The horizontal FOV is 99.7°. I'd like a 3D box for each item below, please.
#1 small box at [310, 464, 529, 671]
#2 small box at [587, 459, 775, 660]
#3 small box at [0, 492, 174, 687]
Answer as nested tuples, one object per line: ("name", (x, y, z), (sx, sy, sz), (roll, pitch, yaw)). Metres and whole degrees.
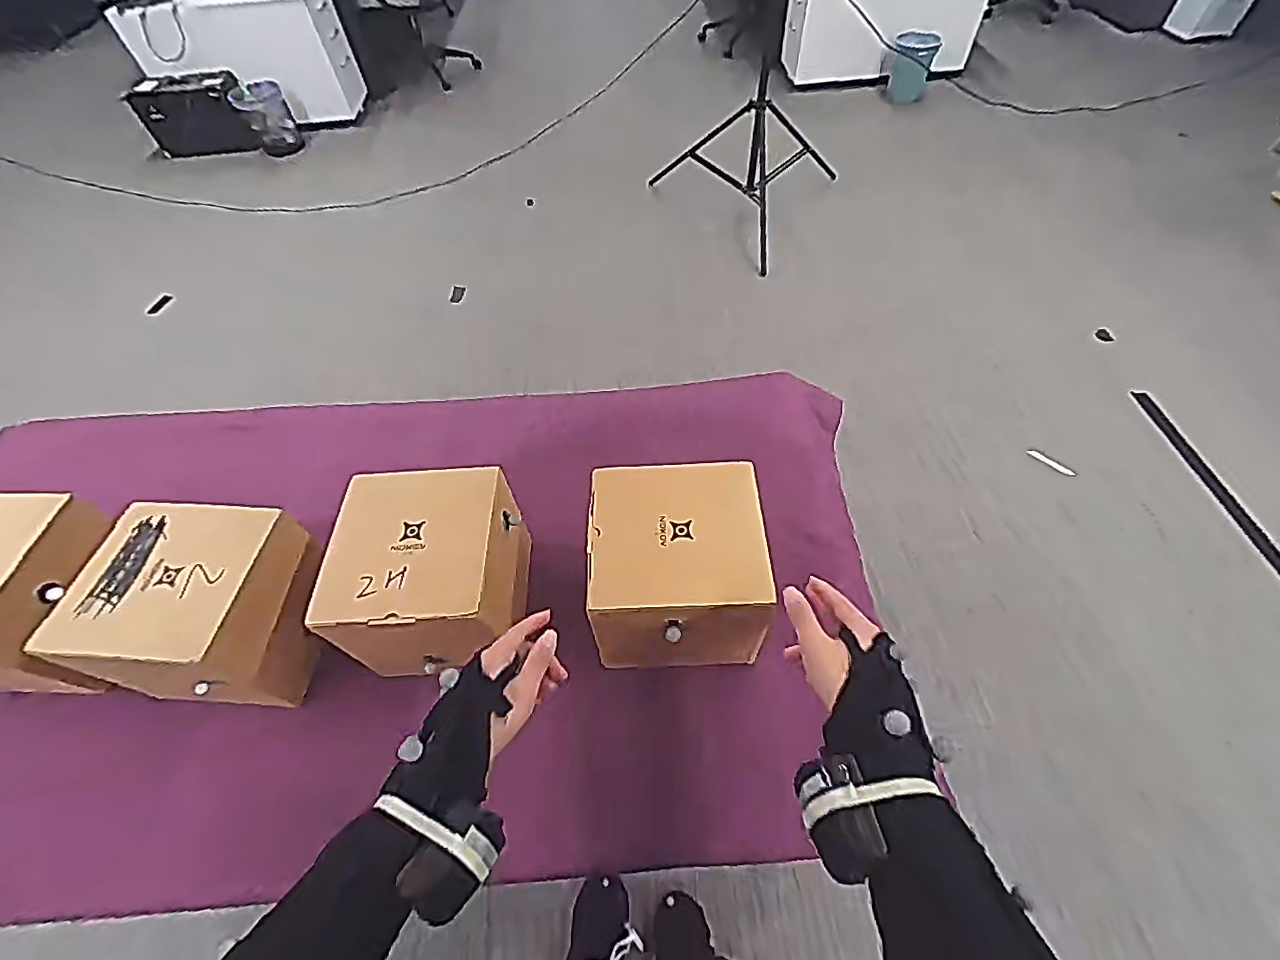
("small box", (-0.227, 0.102, 0.617), (0.168, 0.176, 0.179), (-4, 55, 1))
("small box", (0.040, 0.094, 0.608), (0.179, 0.176, 0.168), (-3, 54, 2))
("small box", (-0.705, 0.131, 0.623), (0.168, 0.176, 0.179), (1, 55, 3))
